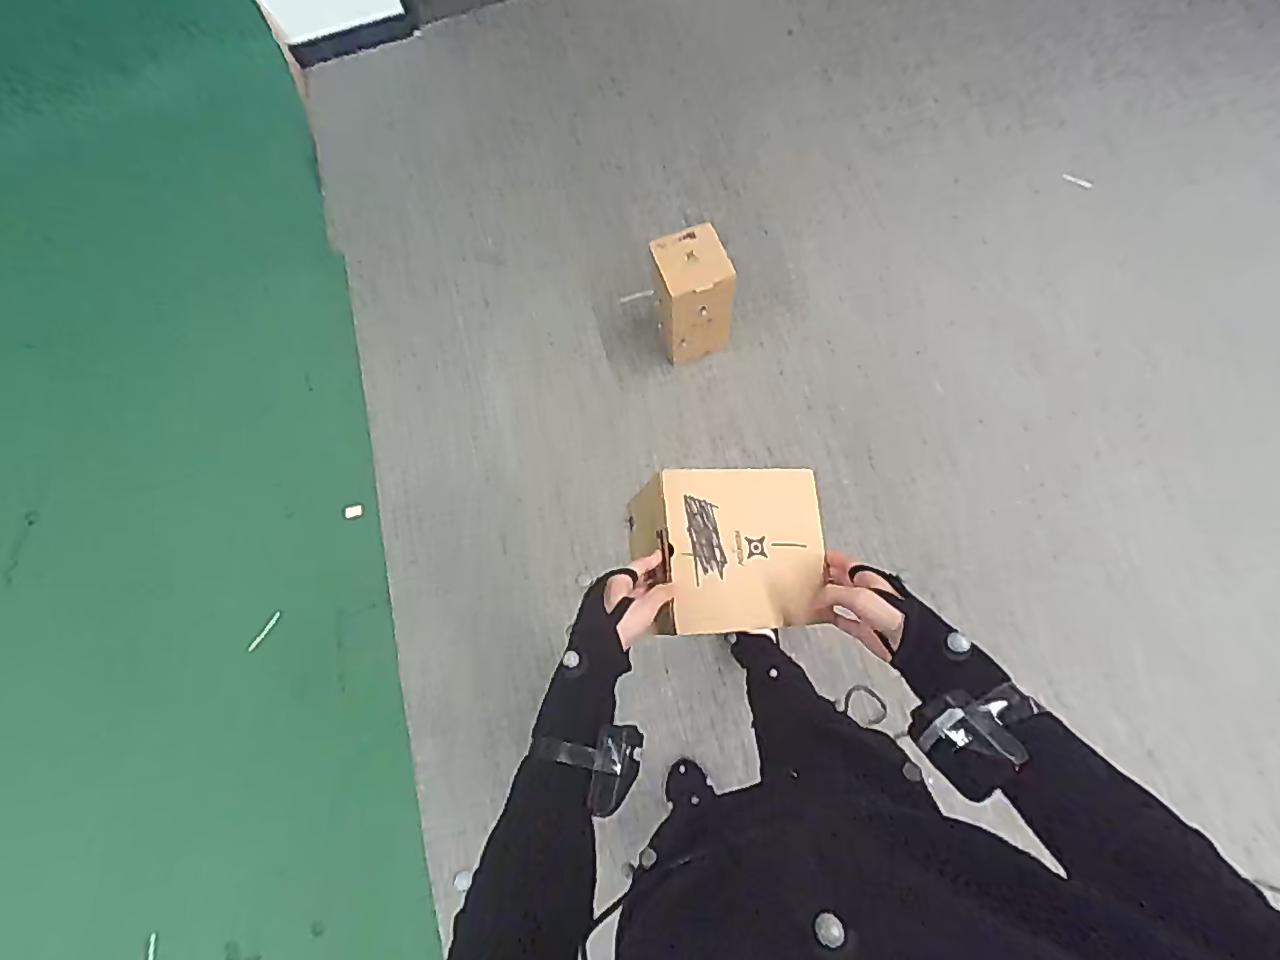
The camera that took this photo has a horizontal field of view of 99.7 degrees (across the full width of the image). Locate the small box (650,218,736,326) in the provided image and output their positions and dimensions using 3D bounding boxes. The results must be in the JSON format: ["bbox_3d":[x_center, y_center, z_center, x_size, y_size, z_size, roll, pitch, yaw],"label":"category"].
[{"bbox_3d":[0.131,-0.514,1.368,0.168,0.176,0.179,-18,73,-2],"label":"small box"}]

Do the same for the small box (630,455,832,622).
[{"bbox_3d":[0.088,0.074,0.621,0.179,0.176,0.168,0,76,-15],"label":"small box"}]
